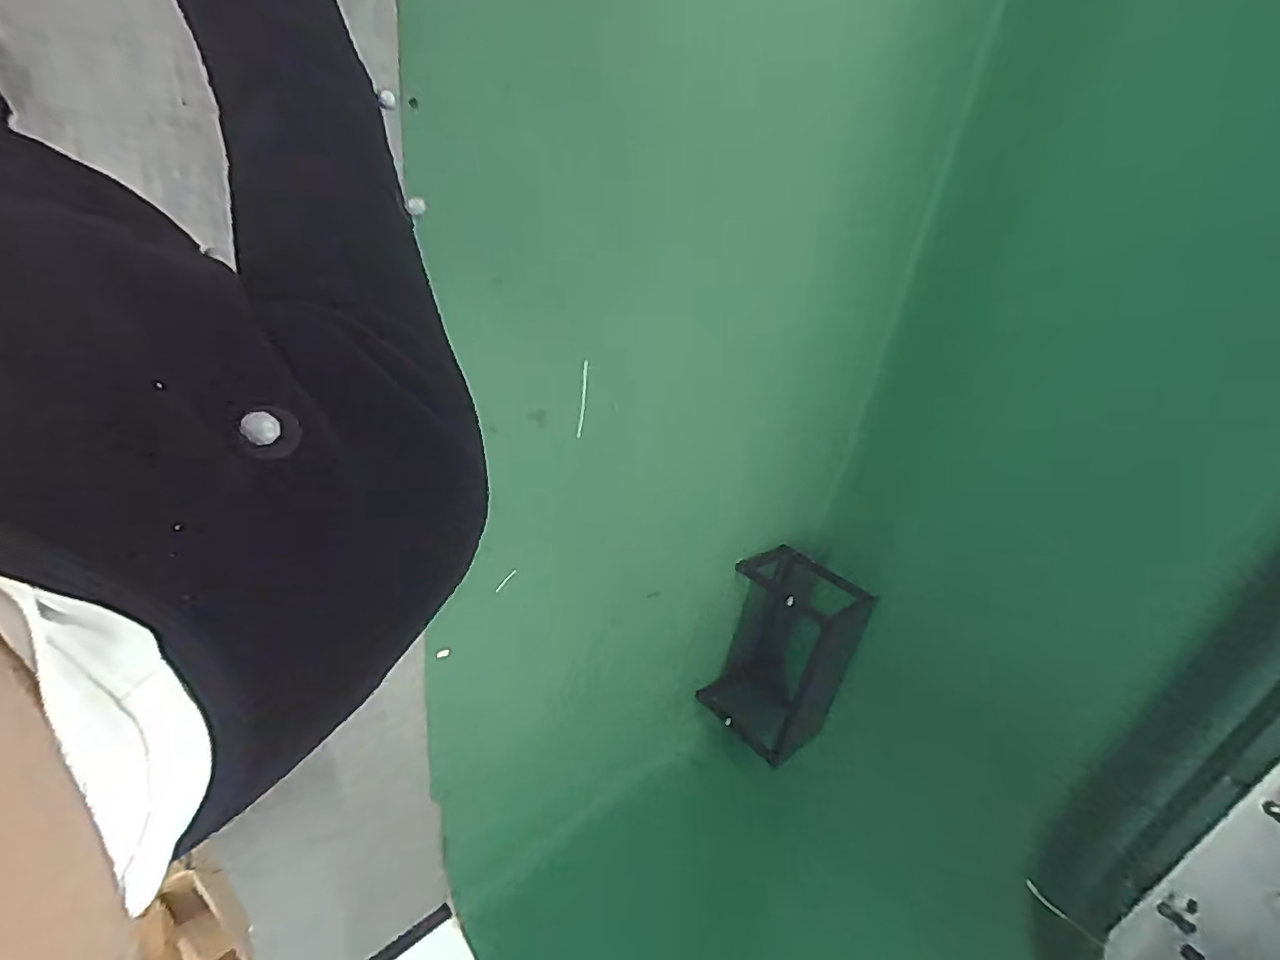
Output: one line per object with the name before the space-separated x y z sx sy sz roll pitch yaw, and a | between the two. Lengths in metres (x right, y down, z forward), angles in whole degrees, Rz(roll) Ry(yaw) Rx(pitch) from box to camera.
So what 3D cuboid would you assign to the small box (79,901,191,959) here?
small box | -1.200 1.163 1.290 0.168 0.176 0.179 -18 128 -39
